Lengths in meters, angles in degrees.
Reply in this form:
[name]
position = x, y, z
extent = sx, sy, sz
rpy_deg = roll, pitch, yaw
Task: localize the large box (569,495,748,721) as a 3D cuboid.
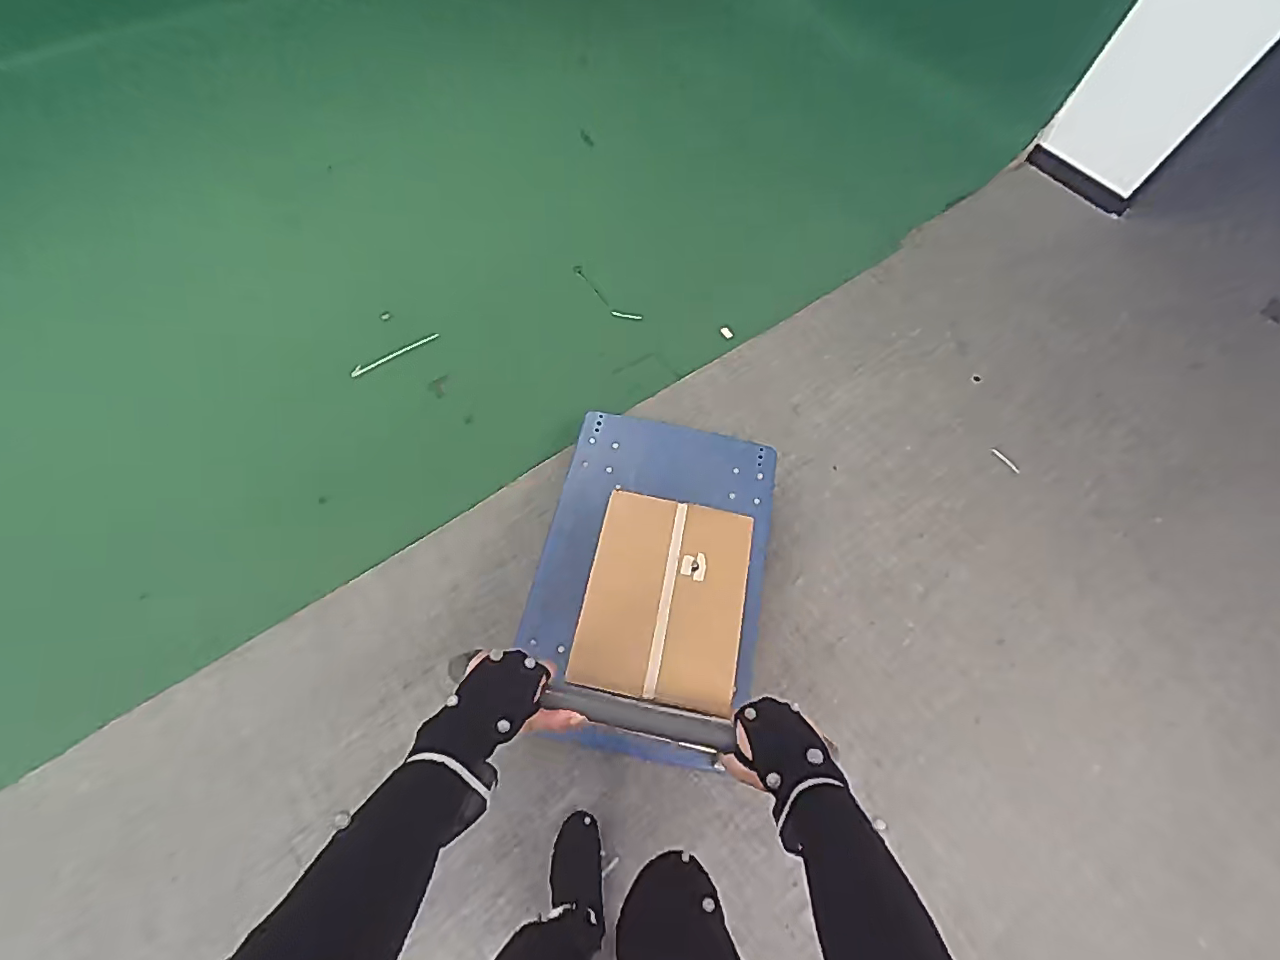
[large box]
position = 0.044, 0.301, 1.229
extent = 0.320, 0.320, 0.408
rpy_deg = 12, 64, 2
